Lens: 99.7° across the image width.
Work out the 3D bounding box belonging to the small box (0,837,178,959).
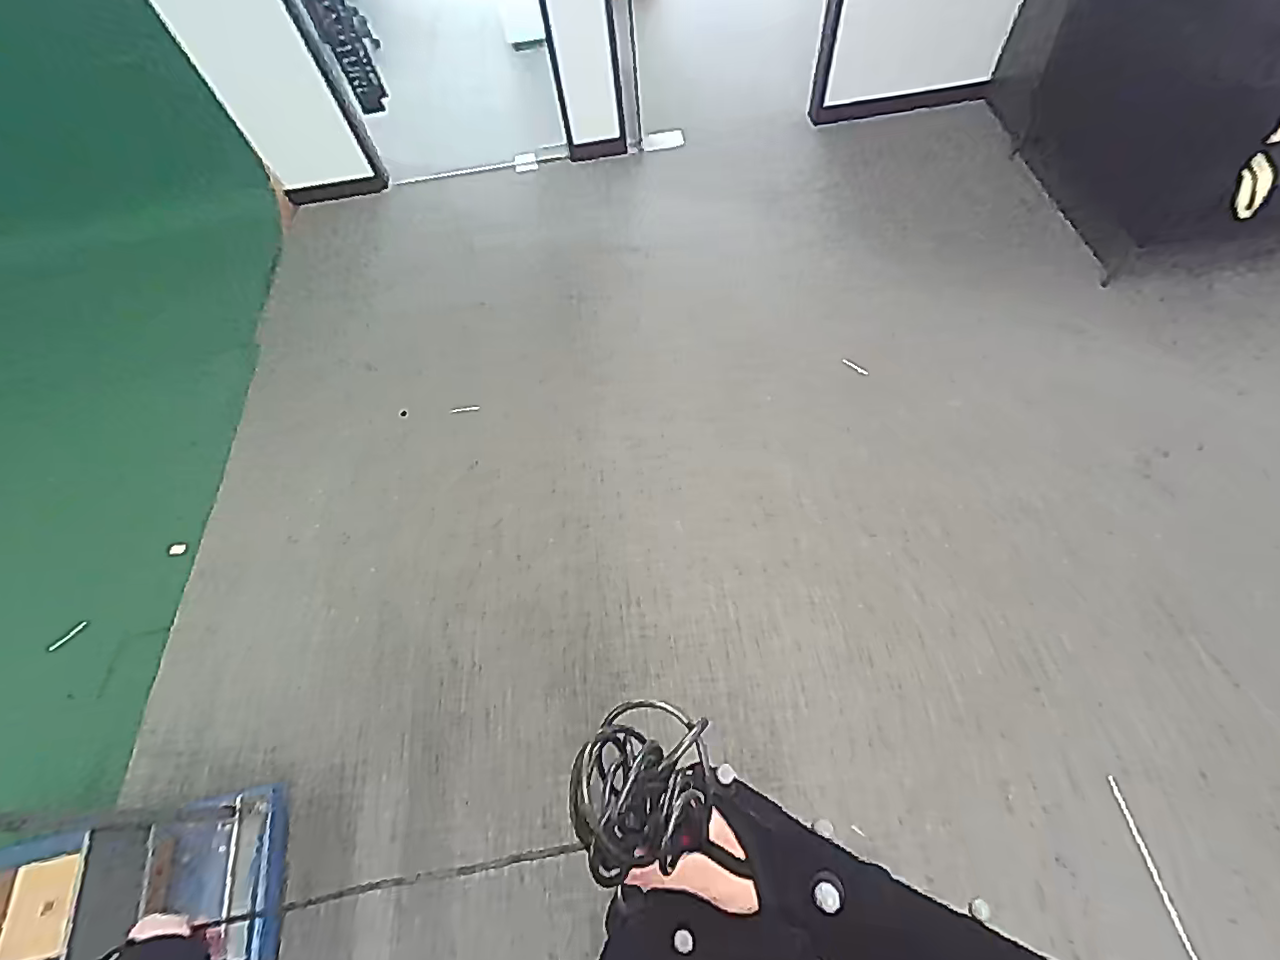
[{"bbox_3d":[-1.131,0.861,1.126,0.179,0.176,0.168,-12,61,-2],"label":"small box"}]
